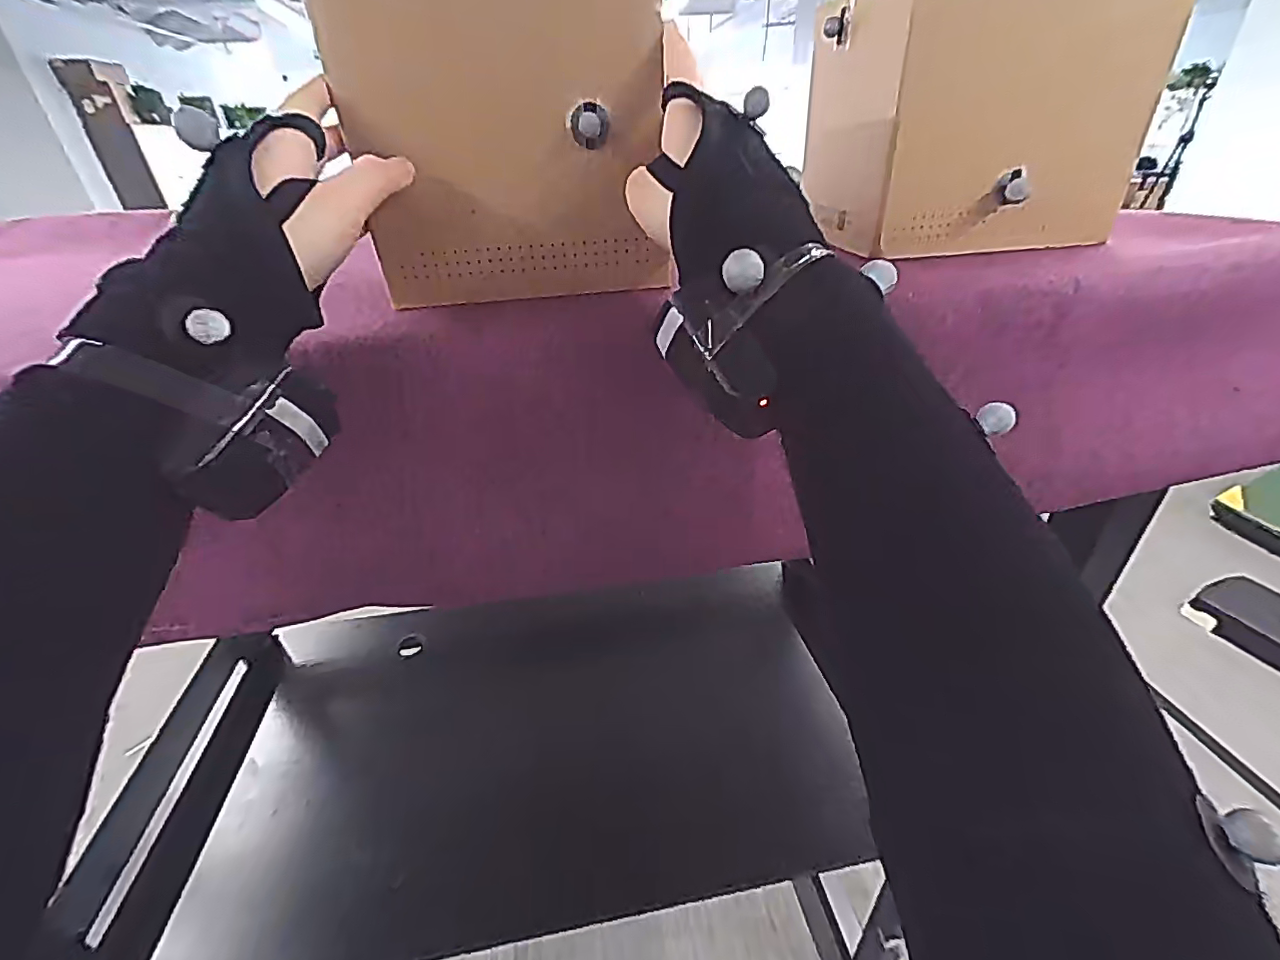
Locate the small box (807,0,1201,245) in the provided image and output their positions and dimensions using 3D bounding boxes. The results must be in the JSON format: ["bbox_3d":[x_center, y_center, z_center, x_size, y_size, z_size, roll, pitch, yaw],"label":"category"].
[{"bbox_3d":[0.242,-0.280,0.402,0.179,0.176,0.168,-5,31,-2],"label":"small box"}]

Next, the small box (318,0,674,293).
[{"bbox_3d":[-0.075,-0.232,0.360,0.179,0.176,0.168,-7,31,-4],"label":"small box"}]
